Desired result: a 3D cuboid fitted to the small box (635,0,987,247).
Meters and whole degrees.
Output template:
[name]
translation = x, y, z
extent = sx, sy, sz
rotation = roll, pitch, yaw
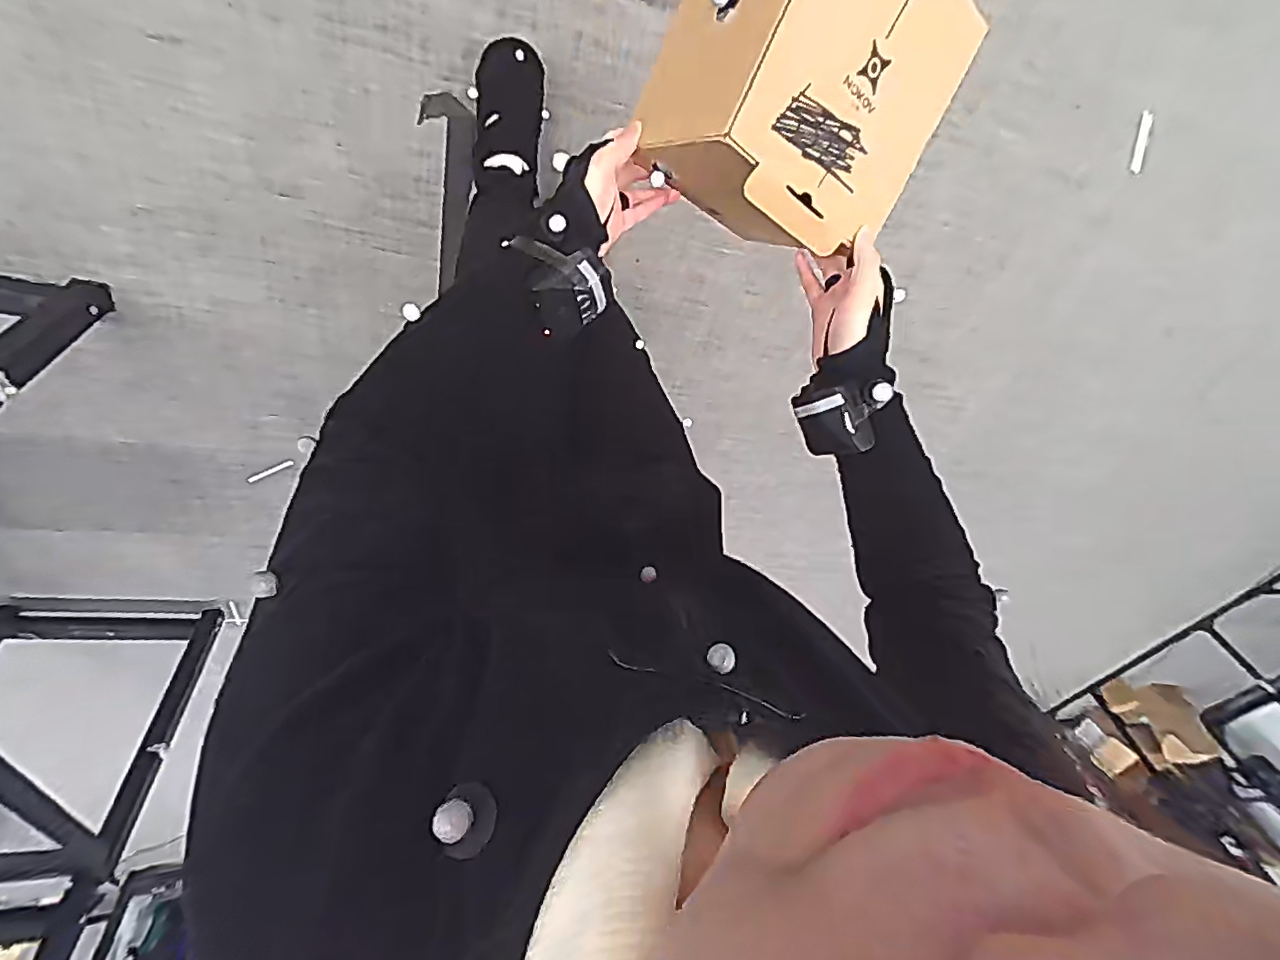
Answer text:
[small box]
translation = 0.118, -0.313, 0.431
extent = 0.168, 0.176, 0.179
rotation = 17, 106, -35
